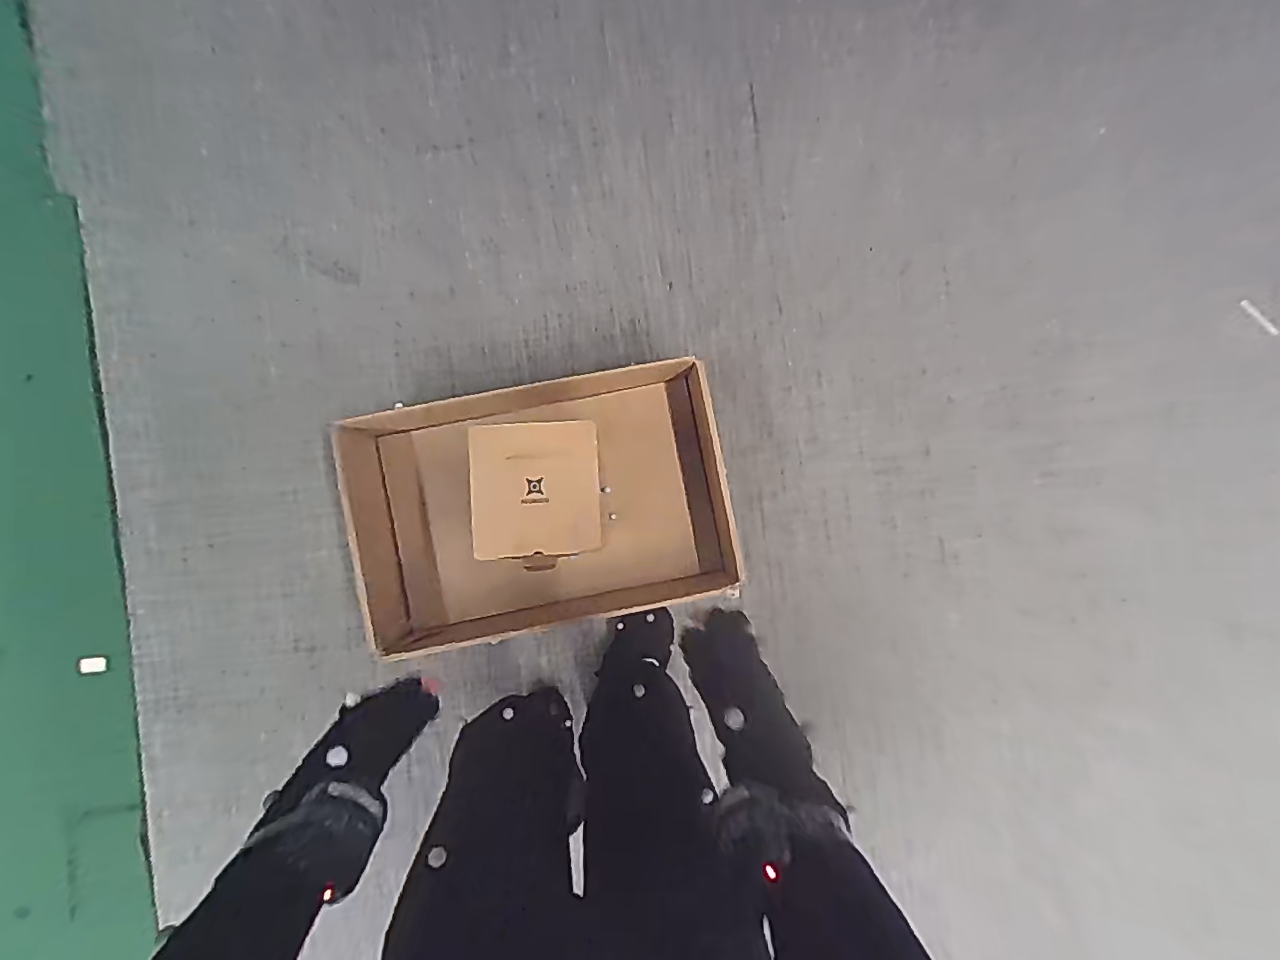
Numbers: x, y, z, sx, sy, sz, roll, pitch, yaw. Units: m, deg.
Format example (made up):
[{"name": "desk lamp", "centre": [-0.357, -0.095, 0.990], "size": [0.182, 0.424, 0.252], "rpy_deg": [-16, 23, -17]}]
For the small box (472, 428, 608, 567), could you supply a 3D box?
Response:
[{"name": "small box", "centre": [-0.134, 0.025, 0.778], "size": [0.168, 0.176, 0.179], "rpy_deg": [-3, 87, -1]}]
